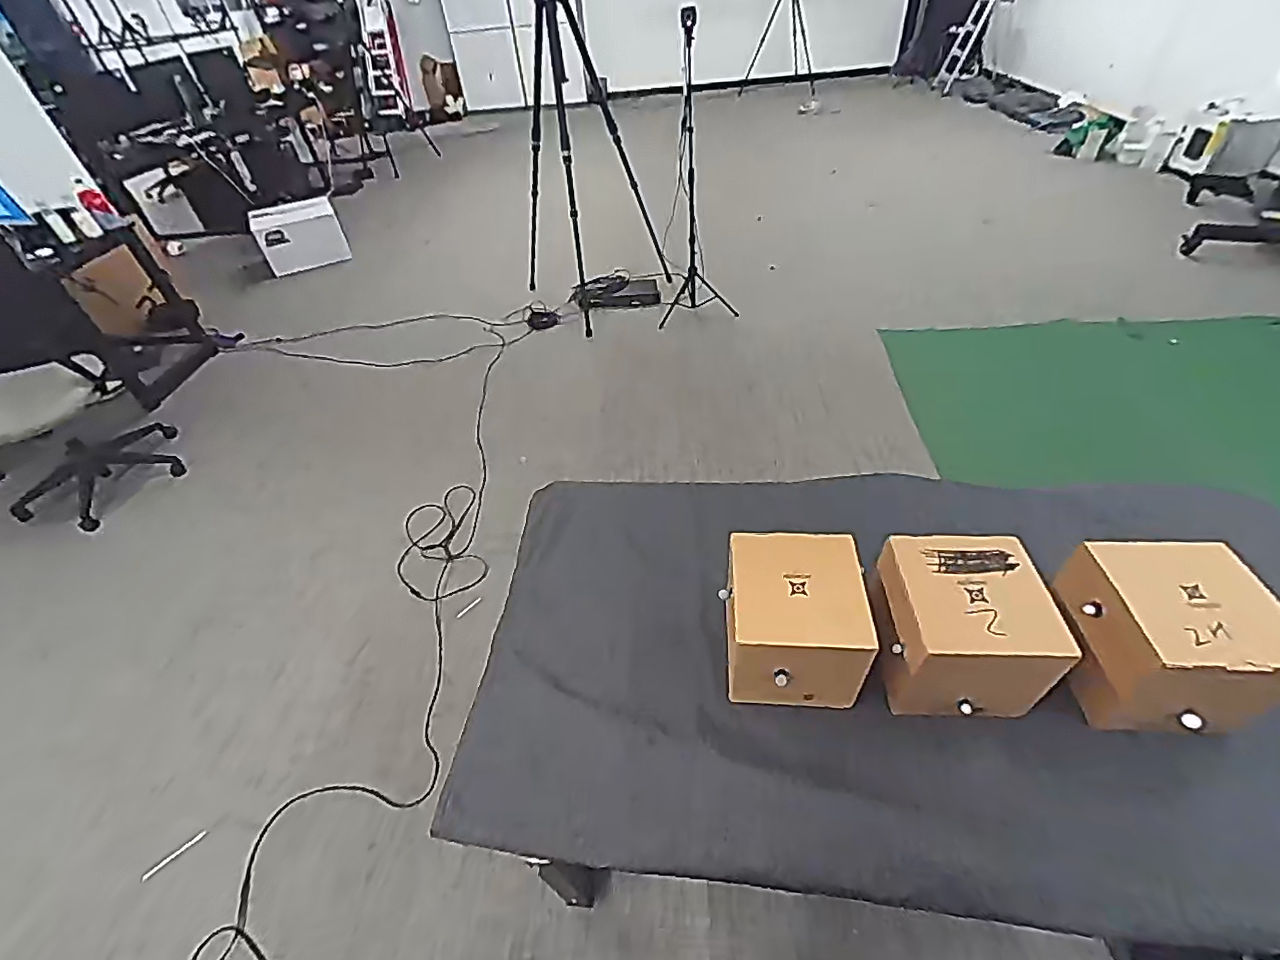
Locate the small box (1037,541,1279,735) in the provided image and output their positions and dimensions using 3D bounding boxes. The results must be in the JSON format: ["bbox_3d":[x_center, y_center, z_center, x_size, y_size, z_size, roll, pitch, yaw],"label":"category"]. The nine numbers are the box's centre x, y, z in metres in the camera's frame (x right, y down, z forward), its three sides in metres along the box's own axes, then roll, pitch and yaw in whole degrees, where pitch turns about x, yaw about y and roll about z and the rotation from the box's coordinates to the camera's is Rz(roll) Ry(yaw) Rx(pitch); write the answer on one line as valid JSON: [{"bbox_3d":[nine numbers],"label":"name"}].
[{"bbox_3d":[0.654,0.197,0.687,0.168,0.176,0.179,-1,44,7],"label":"small box"}]
